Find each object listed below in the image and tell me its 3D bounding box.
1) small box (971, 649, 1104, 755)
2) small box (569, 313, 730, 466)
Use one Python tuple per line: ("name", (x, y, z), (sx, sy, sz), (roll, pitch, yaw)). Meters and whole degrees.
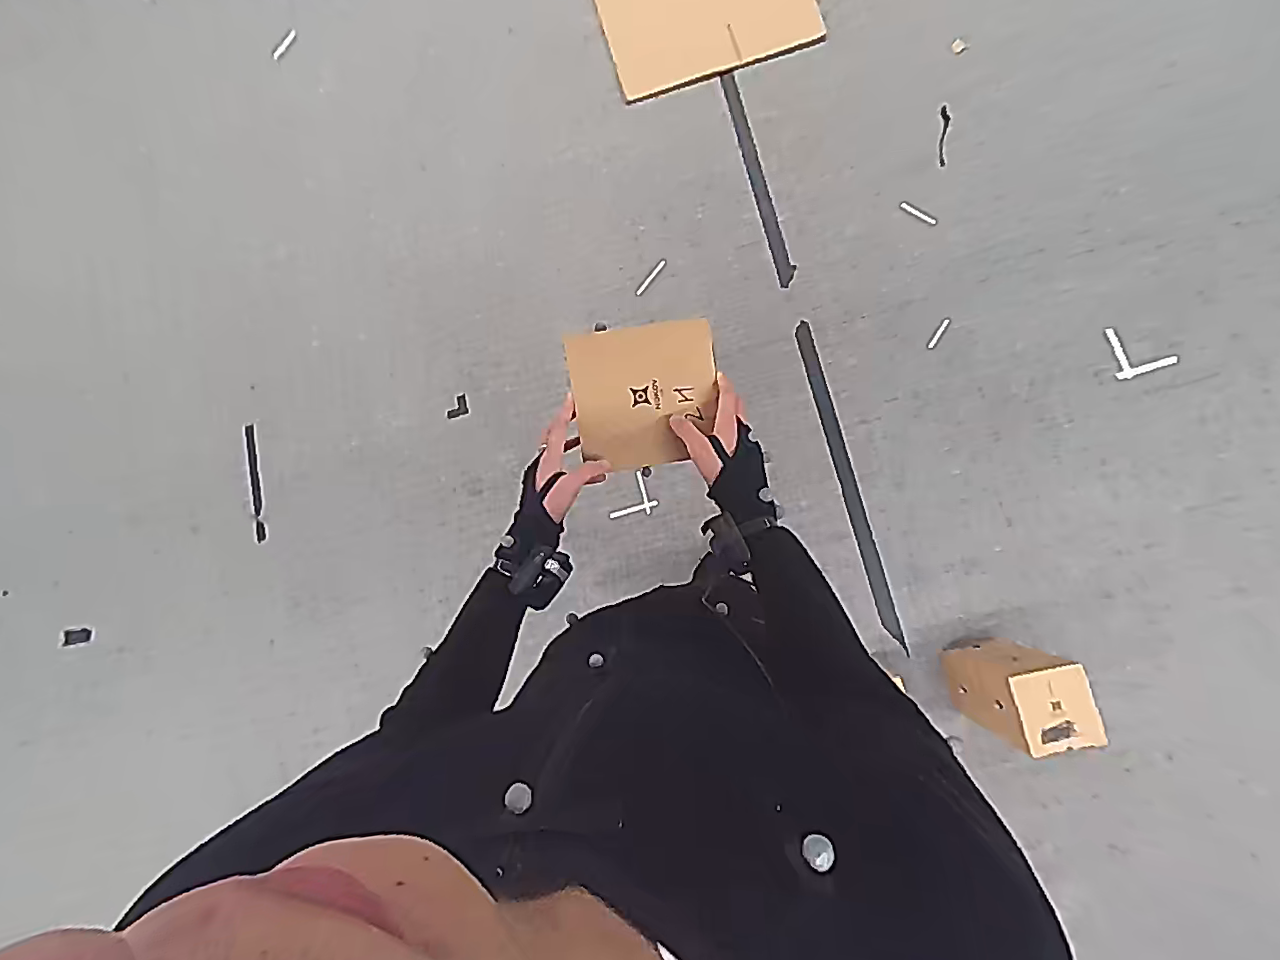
("small box", (0.921, 0.513, 1.270), (0.168, 0.176, 0.179), (-13, 81, 3))
("small box", (0.007, -0.112, 0.714), (0.179, 0.176, 0.168), (-8, 96, -4))
